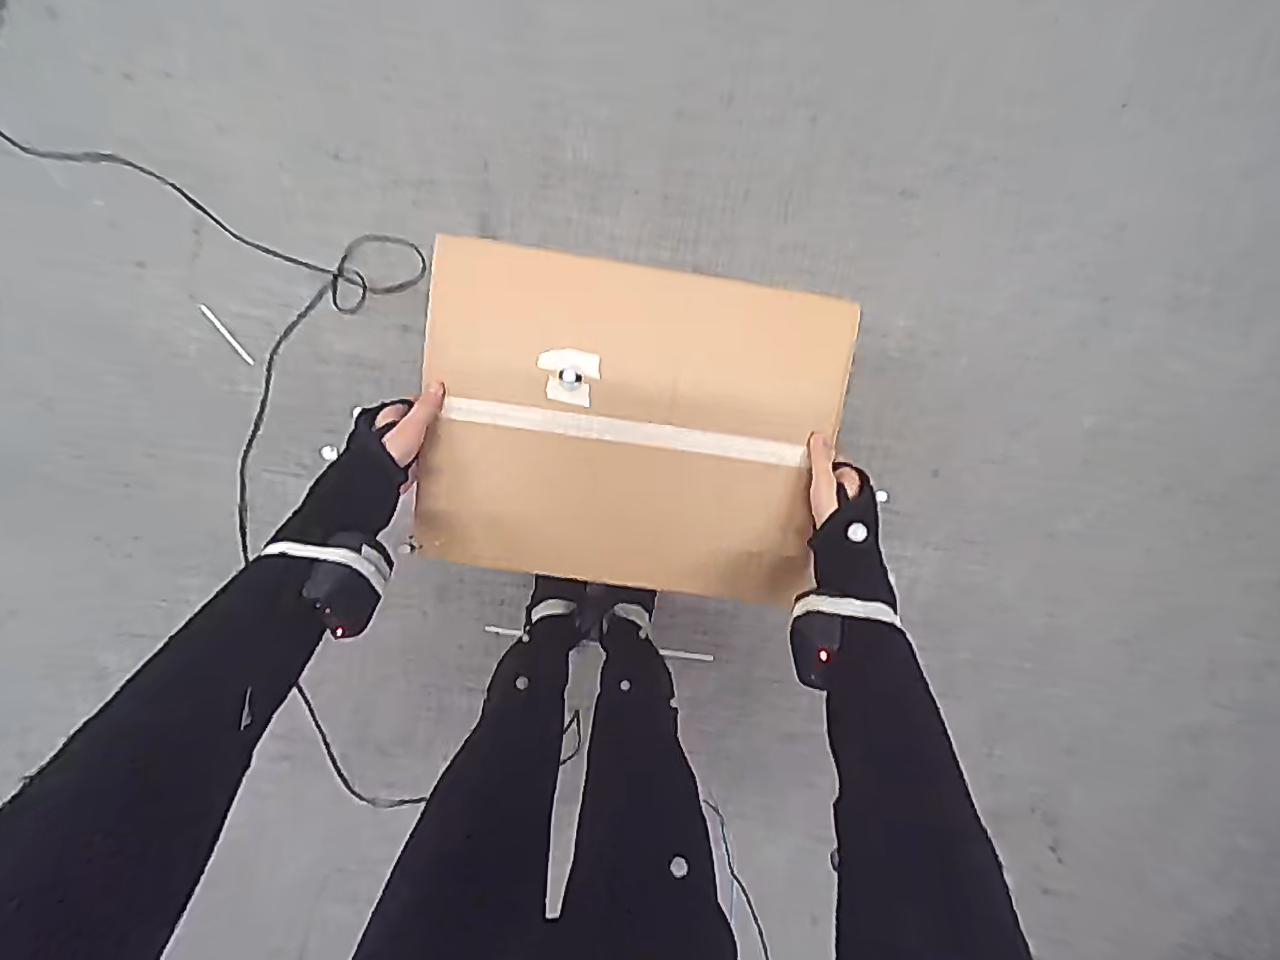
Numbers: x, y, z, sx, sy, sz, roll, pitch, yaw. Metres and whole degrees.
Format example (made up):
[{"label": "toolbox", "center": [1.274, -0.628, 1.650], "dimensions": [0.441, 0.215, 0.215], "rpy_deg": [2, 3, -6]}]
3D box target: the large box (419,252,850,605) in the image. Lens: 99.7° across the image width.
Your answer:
[{"label": "large box", "center": [-0.013, -0.067, 0.686], "dimensions": [0.408, 0.320, 0.320], "rpy_deg": [9, 99, -2]}]
